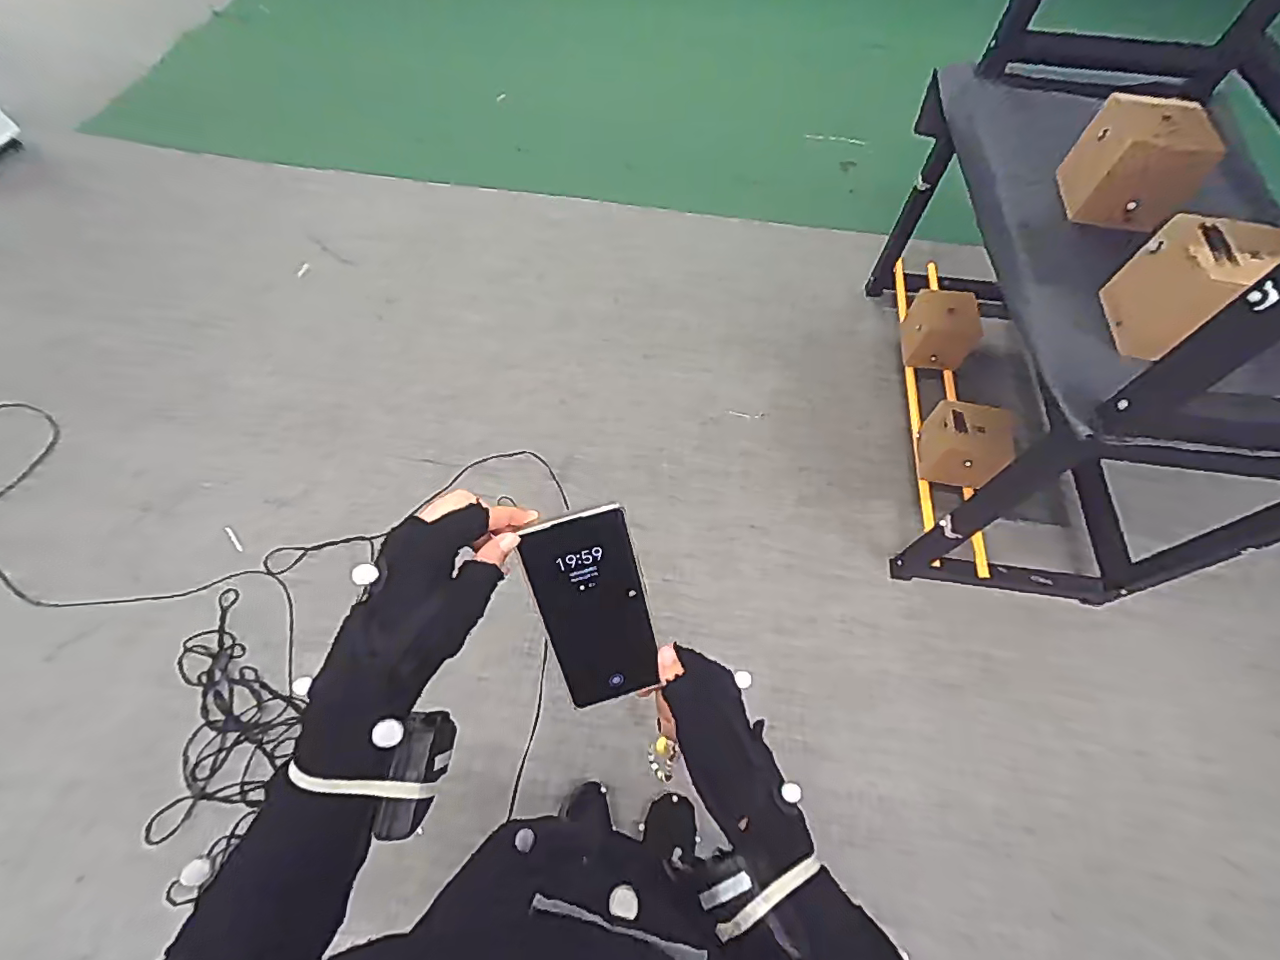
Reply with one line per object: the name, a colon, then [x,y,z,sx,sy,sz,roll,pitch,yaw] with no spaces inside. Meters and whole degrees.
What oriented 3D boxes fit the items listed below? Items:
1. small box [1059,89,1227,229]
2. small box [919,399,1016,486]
small box: [0.991,-0.642,1.088,0.168,0.176,0.179,10,61,4]
small box: [0.893,-0.099,1.498,0.179,0.176,0.168,10,62,5]
